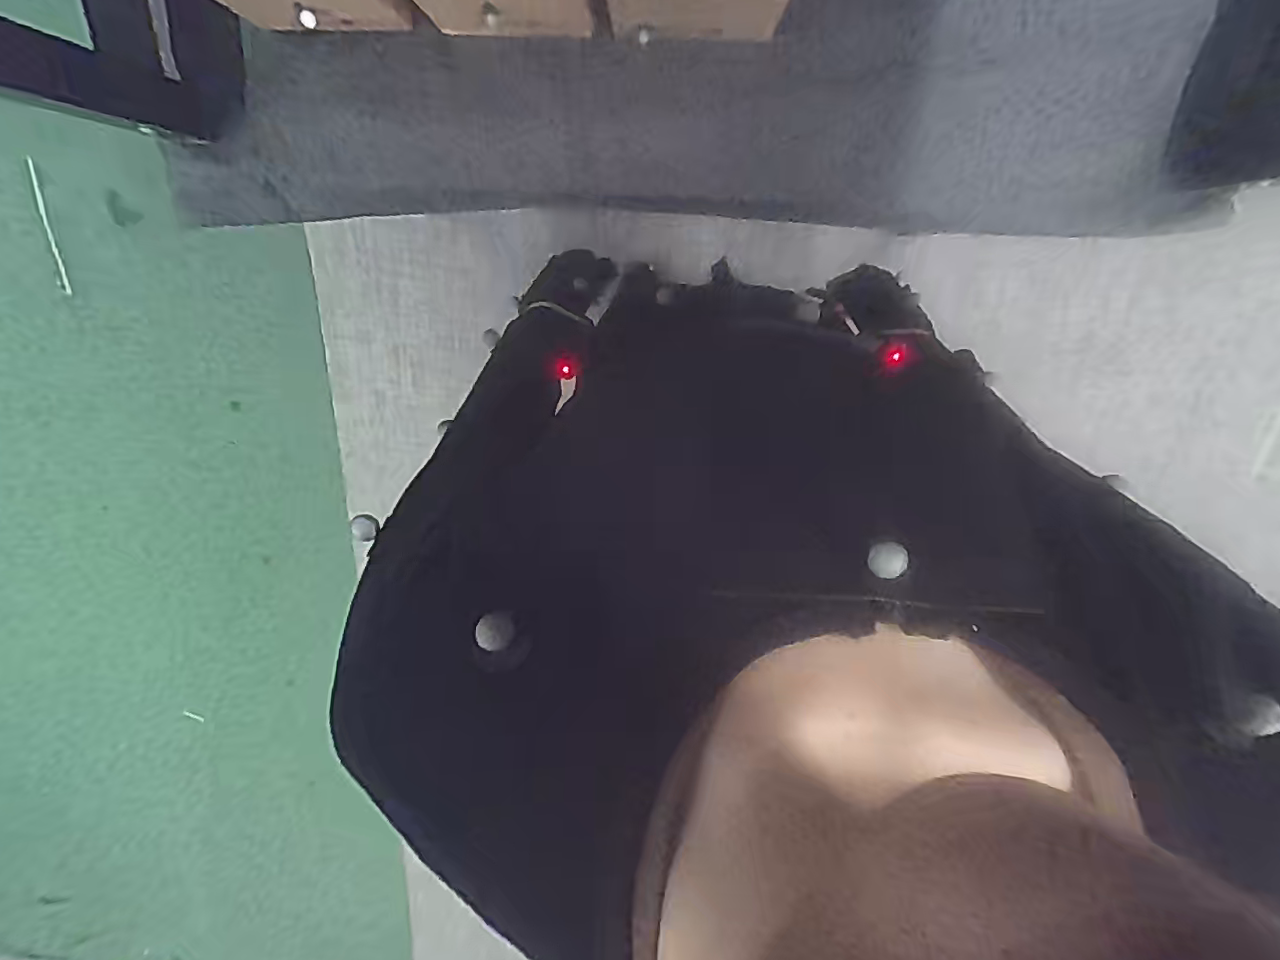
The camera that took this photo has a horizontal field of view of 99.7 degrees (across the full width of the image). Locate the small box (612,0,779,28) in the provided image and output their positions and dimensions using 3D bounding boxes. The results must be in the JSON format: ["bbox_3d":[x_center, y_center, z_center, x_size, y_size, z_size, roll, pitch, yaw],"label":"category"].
[{"bbox_3d":[0.052,-0.516,0.454,0.168,0.176,0.179,2,111,2],"label":"small box"}]

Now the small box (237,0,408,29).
[{"bbox_3d":[-0.322,-0.532,0.464,0.168,0.176,0.179,2,111,2],"label":"small box"}]
